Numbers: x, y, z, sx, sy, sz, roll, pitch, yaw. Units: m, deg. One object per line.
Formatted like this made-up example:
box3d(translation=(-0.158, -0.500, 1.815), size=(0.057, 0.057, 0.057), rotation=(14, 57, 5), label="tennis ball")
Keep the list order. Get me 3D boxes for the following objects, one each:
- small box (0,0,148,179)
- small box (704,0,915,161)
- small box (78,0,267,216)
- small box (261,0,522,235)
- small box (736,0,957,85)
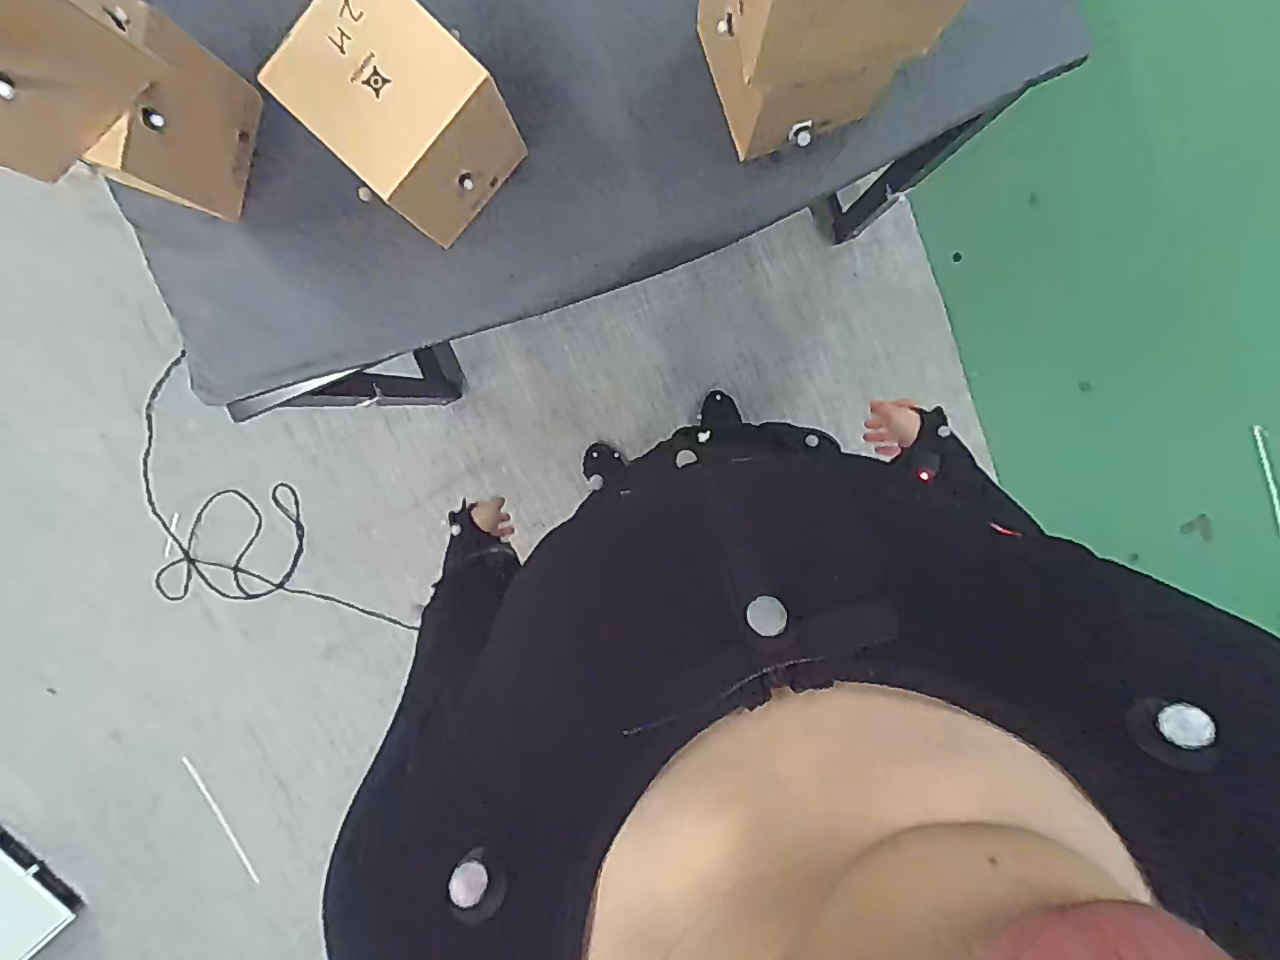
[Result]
box3d(translation=(-0.592, -0.408, 0.464), size=(0.179, 0.176, 0.168), rotation=(-39, 96, 7), label="small box")
box3d(translation=(0.175, -0.497, 0.592), size=(0.168, 0.176, 0.179), rotation=(-20, 96, 6), label="small box")
box3d(translation=(-0.589, -0.435, 0.627), size=(0.179, 0.176, 0.168), rotation=(19, 98, -1), label="small box")
box3d(translation=(-0.262, -0.410, 0.618), size=(0.179, 0.176, 0.168), rotation=(44, 96, -3), label="small box")
box3d(translation=(0.173, -0.463, 0.432), size=(0.179, 0.176, 0.168), rotation=(-9, 96, 5), label="small box")
